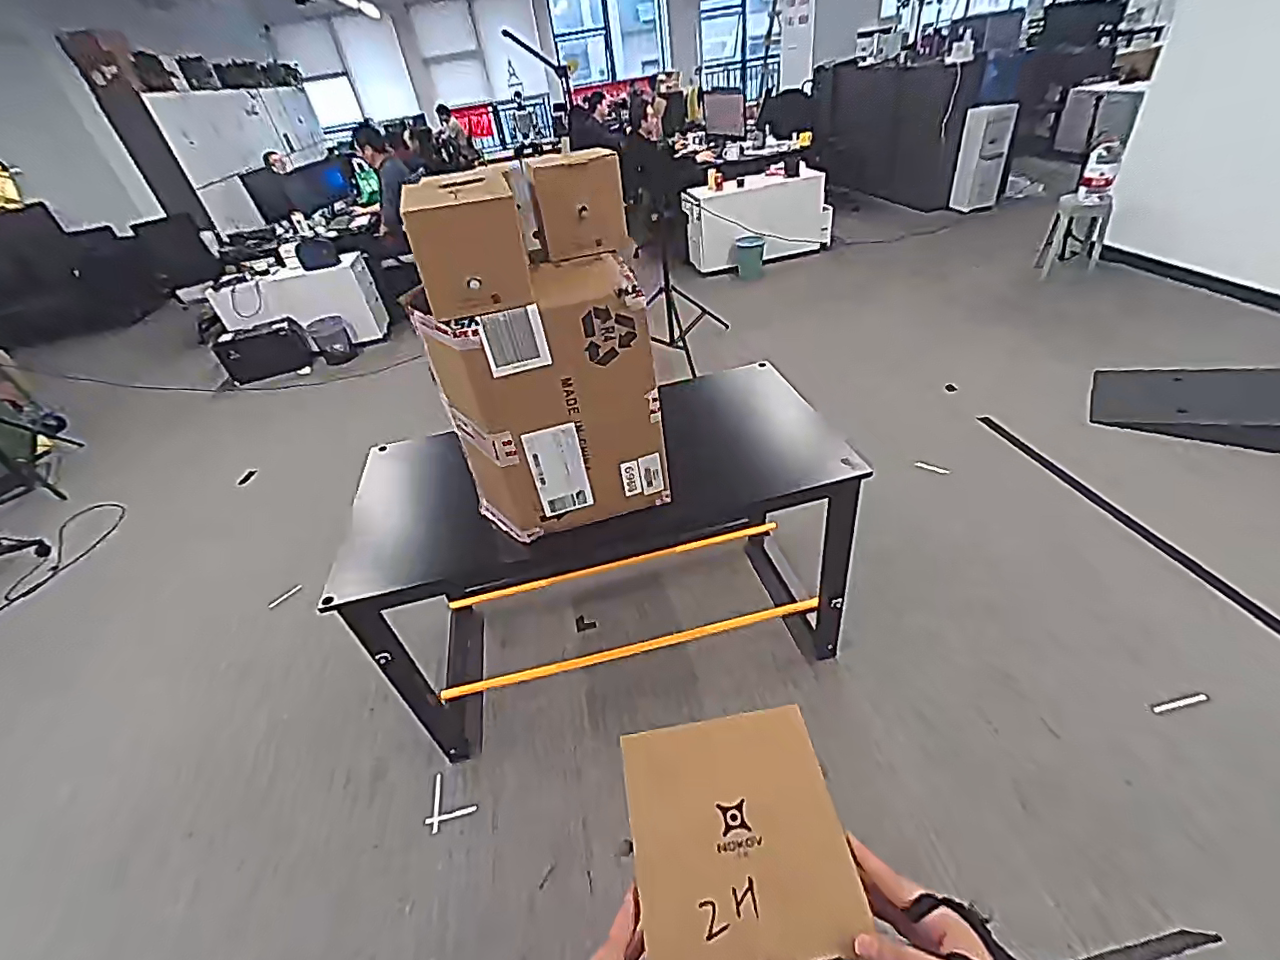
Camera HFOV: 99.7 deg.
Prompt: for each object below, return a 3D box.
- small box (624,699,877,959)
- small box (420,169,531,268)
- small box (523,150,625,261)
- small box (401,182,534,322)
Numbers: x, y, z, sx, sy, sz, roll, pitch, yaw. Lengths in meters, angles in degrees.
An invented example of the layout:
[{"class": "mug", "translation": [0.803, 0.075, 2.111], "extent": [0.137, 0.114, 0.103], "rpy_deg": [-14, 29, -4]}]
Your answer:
[{"class": "small box", "translation": [0.082, 0.329, 0.489], "extent": [0.168, 0.176, 0.179], "rpy_deg": [-10, 45, -2]}, {"class": "small box", "translation": [-0.326, -0.512, 1.085], "extent": [0.168, 0.176, 0.179], "rpy_deg": [-17, 37, -9]}, {"class": "small box", "translation": [-0.134, -0.559, 1.107], "extent": [0.168, 0.176, 0.179], "rpy_deg": [-14, 38, -10]}, {"class": "small box", "translation": [-0.283, -0.382, 0.902], "extent": [0.168, 0.176, 0.179], "rpy_deg": [-15, 40, -10]}]
